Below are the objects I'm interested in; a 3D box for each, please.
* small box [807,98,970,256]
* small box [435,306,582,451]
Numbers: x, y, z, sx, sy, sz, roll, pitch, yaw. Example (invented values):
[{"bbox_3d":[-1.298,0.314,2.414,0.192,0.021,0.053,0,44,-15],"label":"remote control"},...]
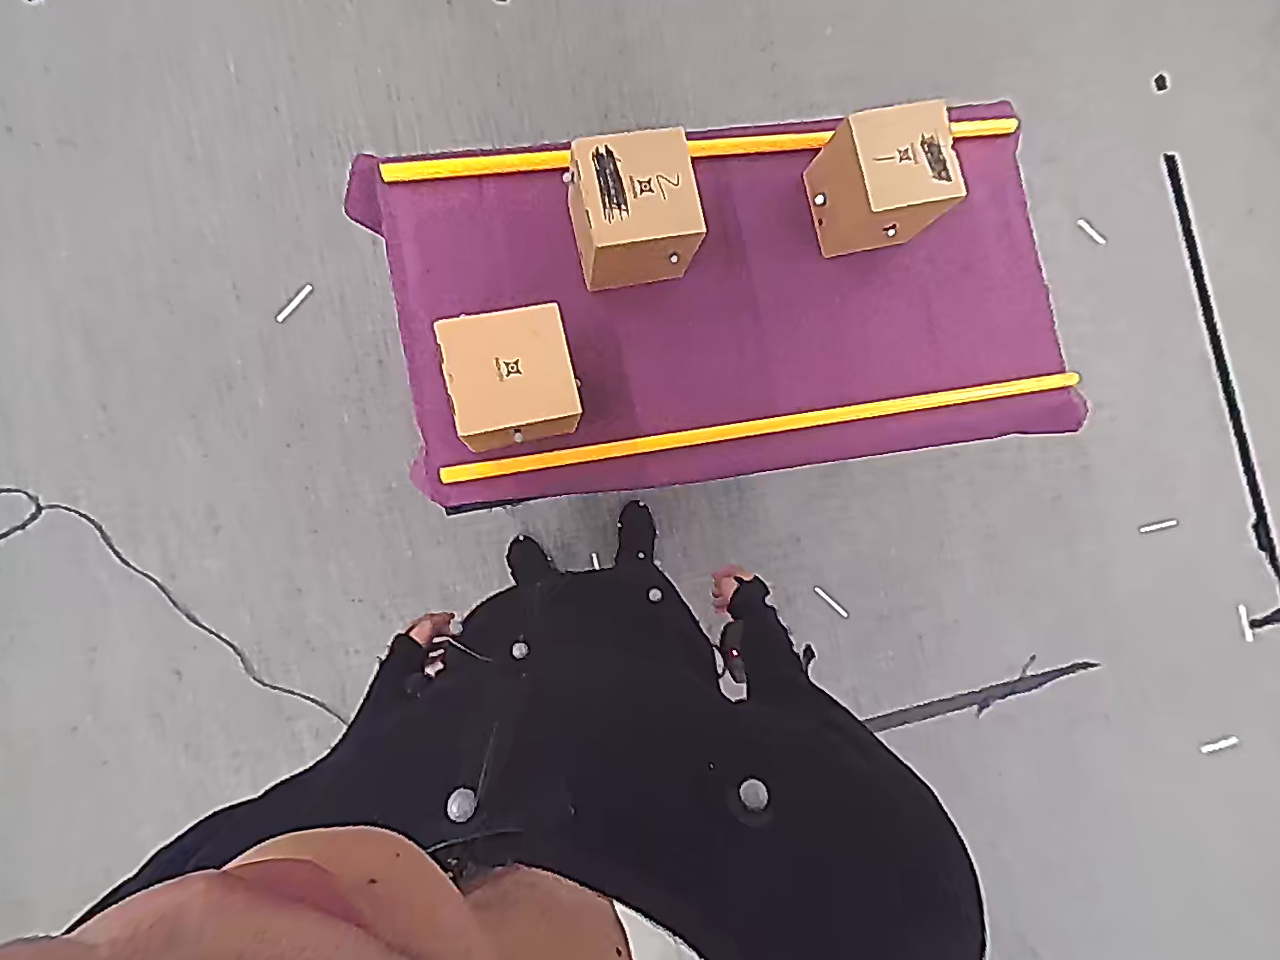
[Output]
[{"bbox_3d":[0.420,-0.514,0.936,0.179,0.176,0.168,-14,90,-7],"label":"small box"},{"bbox_3d":[-0.195,-0.147,0.829,0.179,0.176,0.168,-13,88,-10],"label":"small box"}]
